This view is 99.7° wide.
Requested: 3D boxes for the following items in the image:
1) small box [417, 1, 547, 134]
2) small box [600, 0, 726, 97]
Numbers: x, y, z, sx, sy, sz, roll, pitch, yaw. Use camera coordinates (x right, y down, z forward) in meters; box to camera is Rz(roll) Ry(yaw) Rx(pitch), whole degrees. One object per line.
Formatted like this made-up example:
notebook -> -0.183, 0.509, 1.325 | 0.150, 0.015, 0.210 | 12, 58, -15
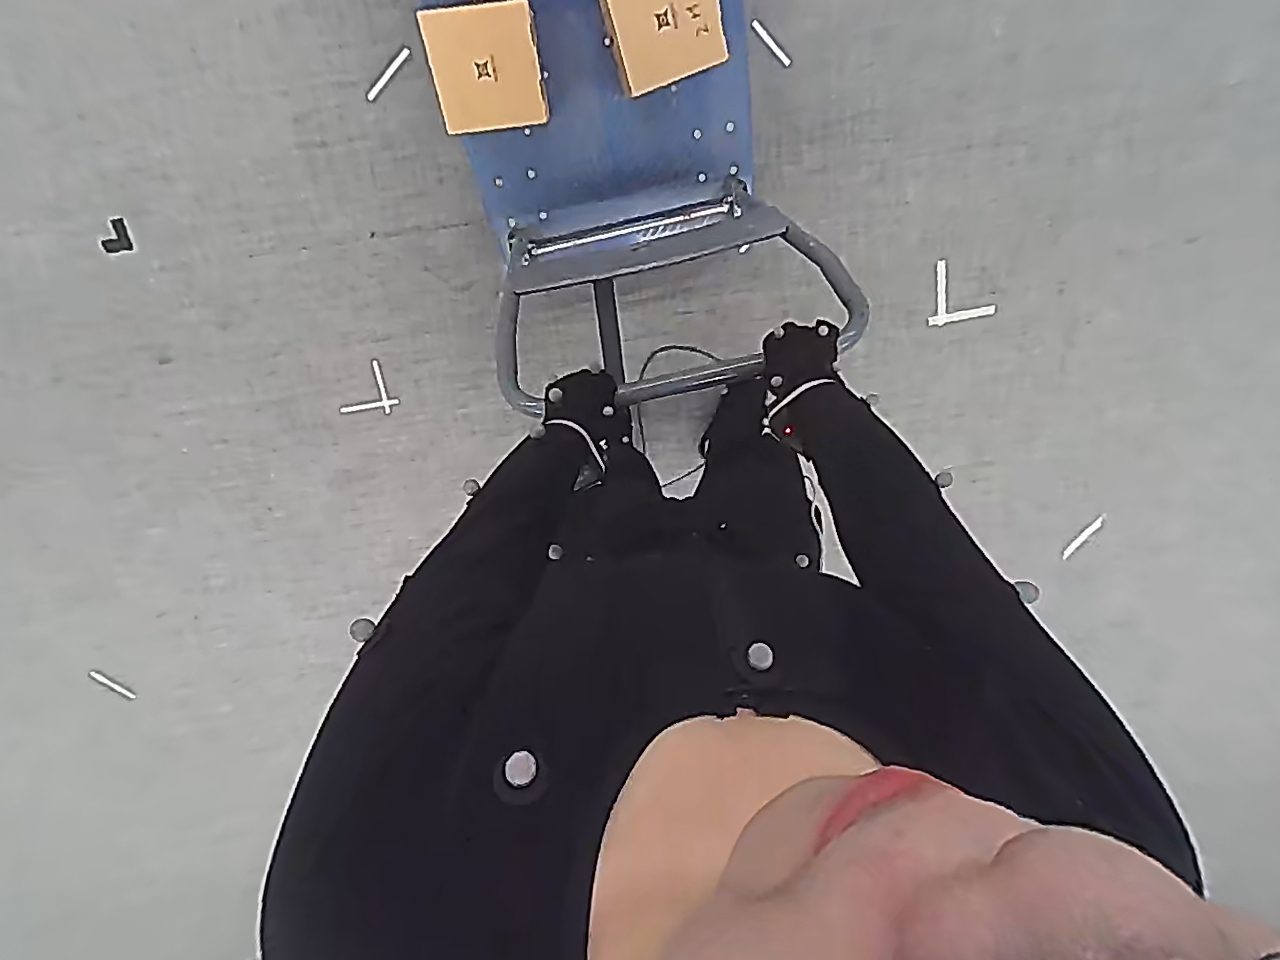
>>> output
small box -> -0.265, -0.717, 0.955 | 0.179, 0.176, 0.168 | -10, 125, -3
small box -> 0.034, -0.790, 0.943 | 0.179, 0.176, 0.168 | -18, 125, 5
